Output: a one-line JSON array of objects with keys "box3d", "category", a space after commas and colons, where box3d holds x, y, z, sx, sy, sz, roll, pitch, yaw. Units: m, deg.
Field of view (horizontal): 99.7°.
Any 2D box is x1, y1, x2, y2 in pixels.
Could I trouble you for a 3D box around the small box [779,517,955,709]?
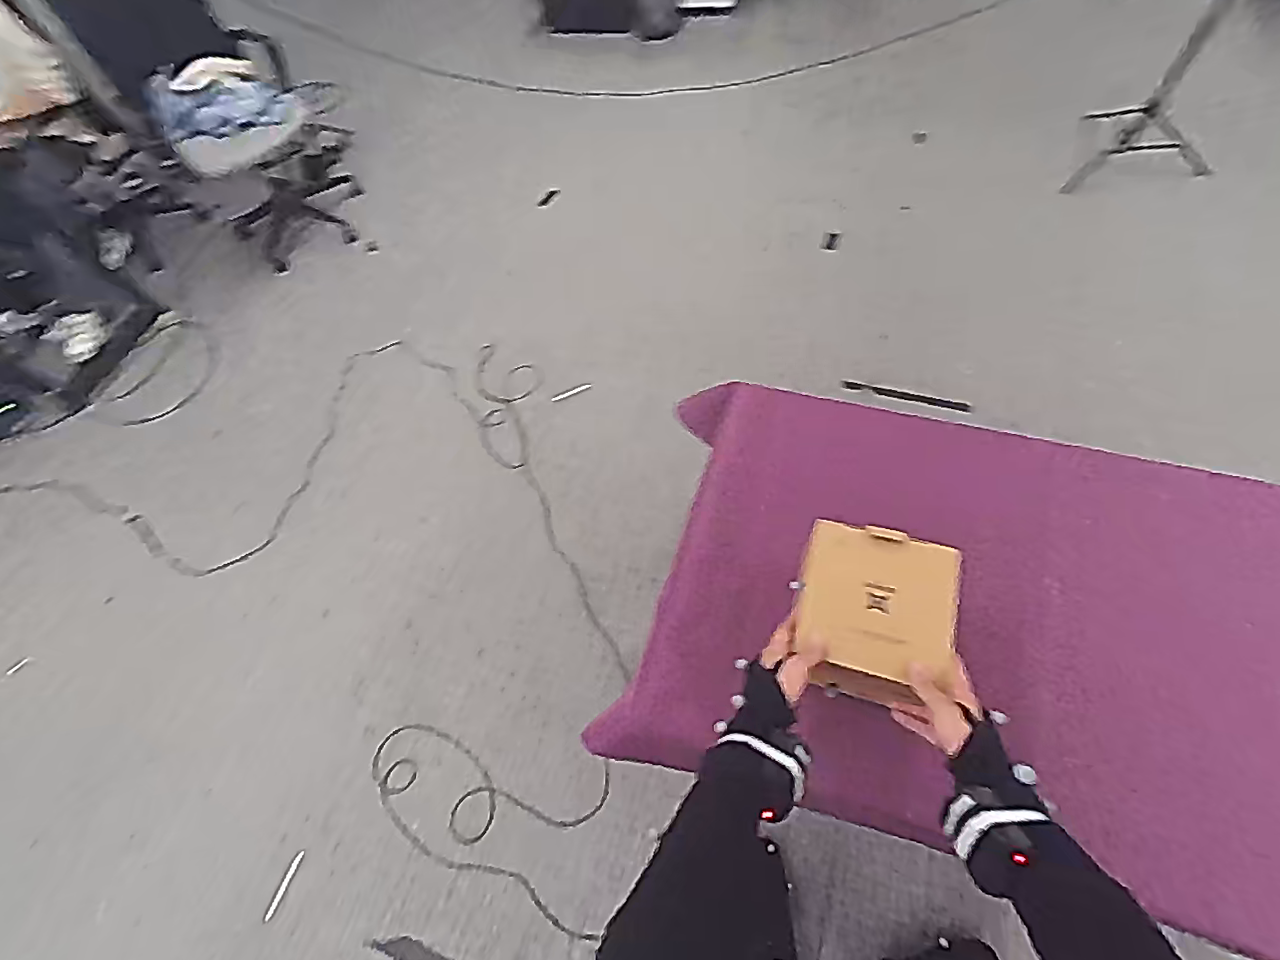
[{"box3d": [0.280, 0.175, 0.693, 0.168, 0.176, 0.179, 13, 65, 16], "category": "small box"}]
